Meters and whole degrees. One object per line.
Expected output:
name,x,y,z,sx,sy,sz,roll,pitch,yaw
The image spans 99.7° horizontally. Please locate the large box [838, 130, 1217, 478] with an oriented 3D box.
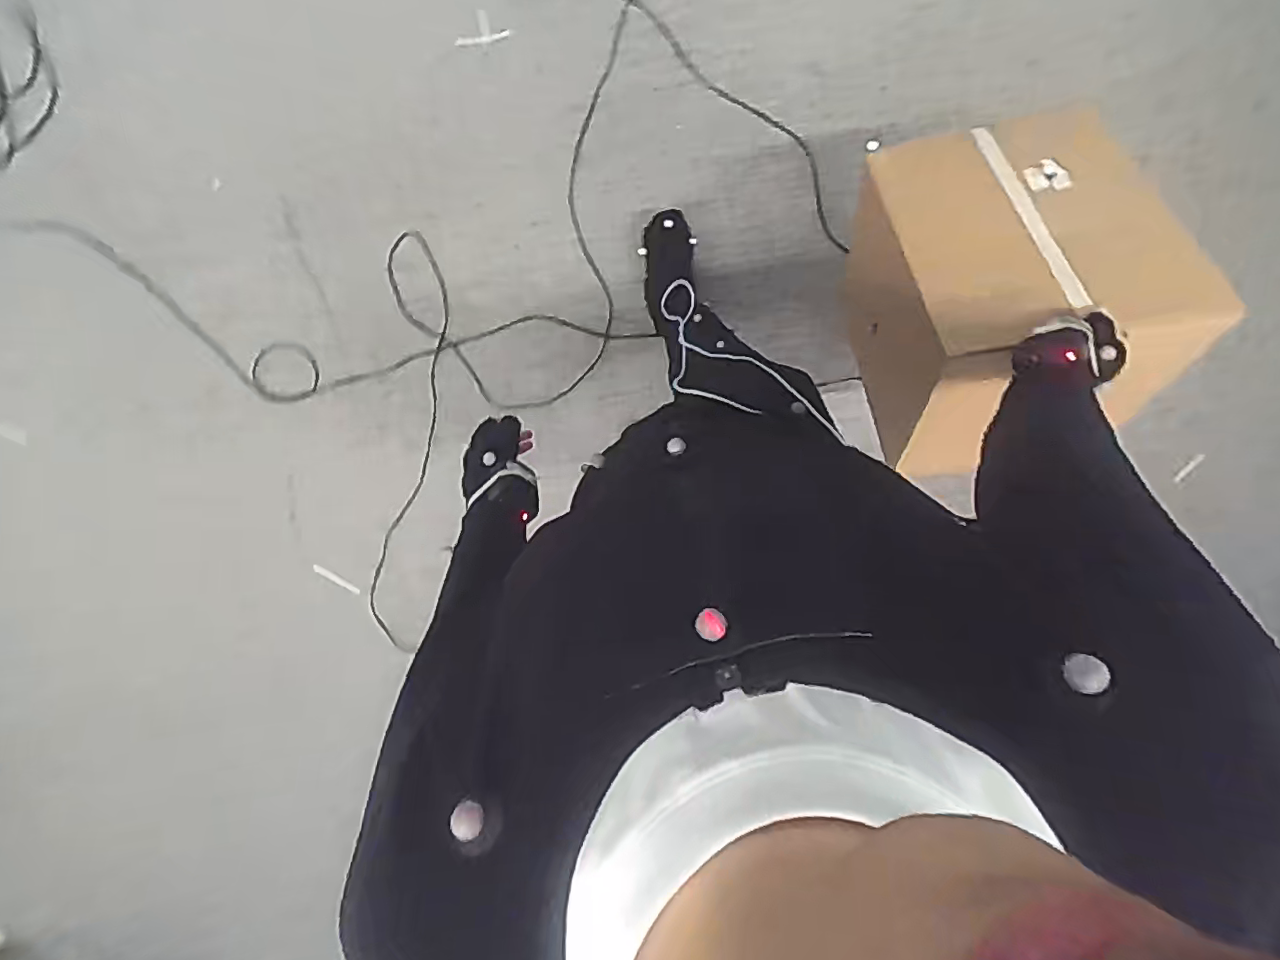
large box,0.533,-0.264,0.863,0.320,0.320,0.408,-7,59,8
